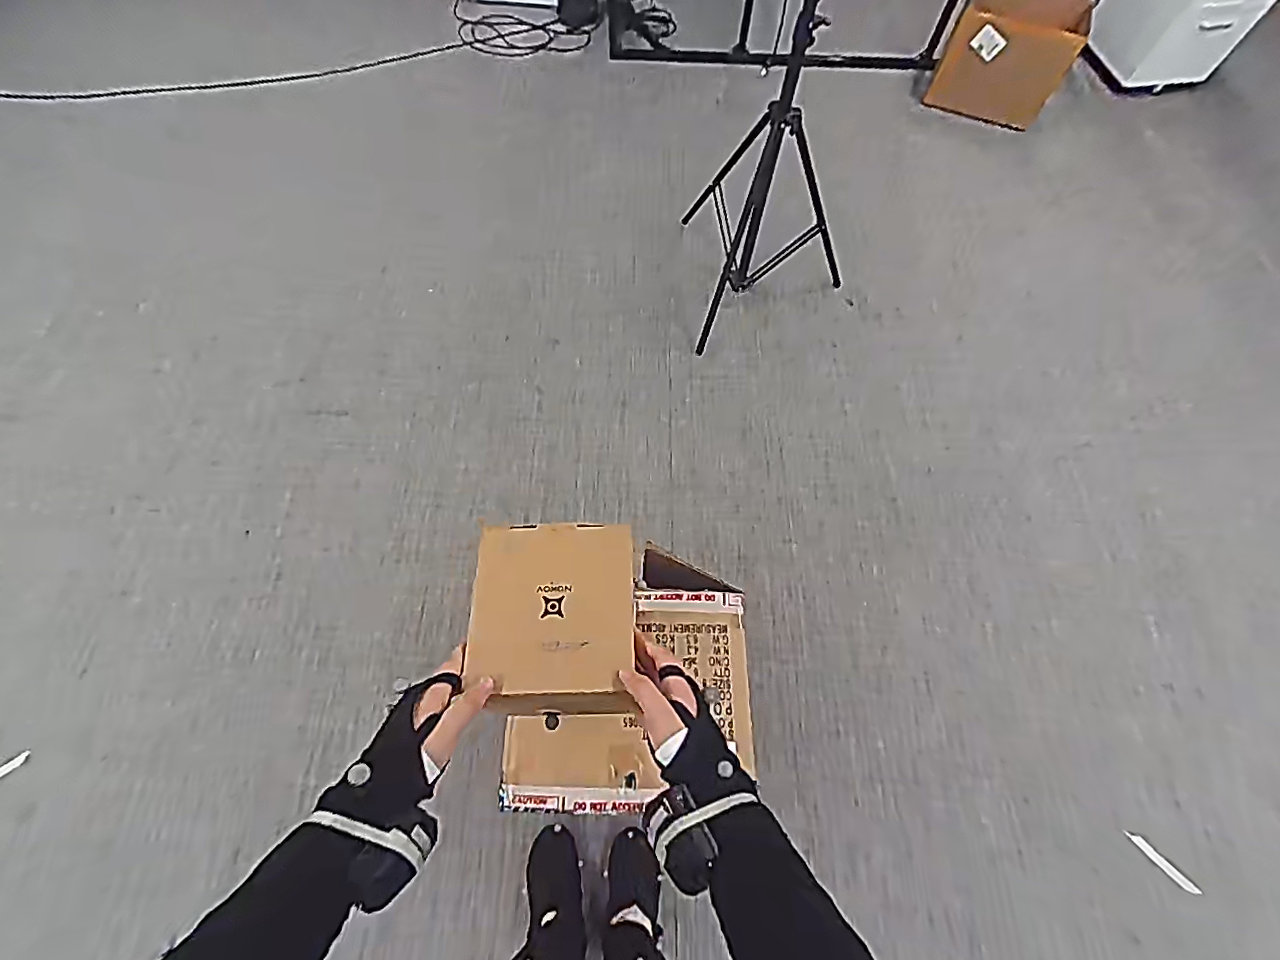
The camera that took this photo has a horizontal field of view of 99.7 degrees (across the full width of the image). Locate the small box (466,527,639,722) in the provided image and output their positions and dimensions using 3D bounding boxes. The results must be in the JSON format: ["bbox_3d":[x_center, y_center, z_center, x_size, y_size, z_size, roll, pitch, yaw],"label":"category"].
[{"bbox_3d":[-0.087,0.170,0.623,0.168,0.176,0.179,-3,59,-1],"label":"small box"}]
